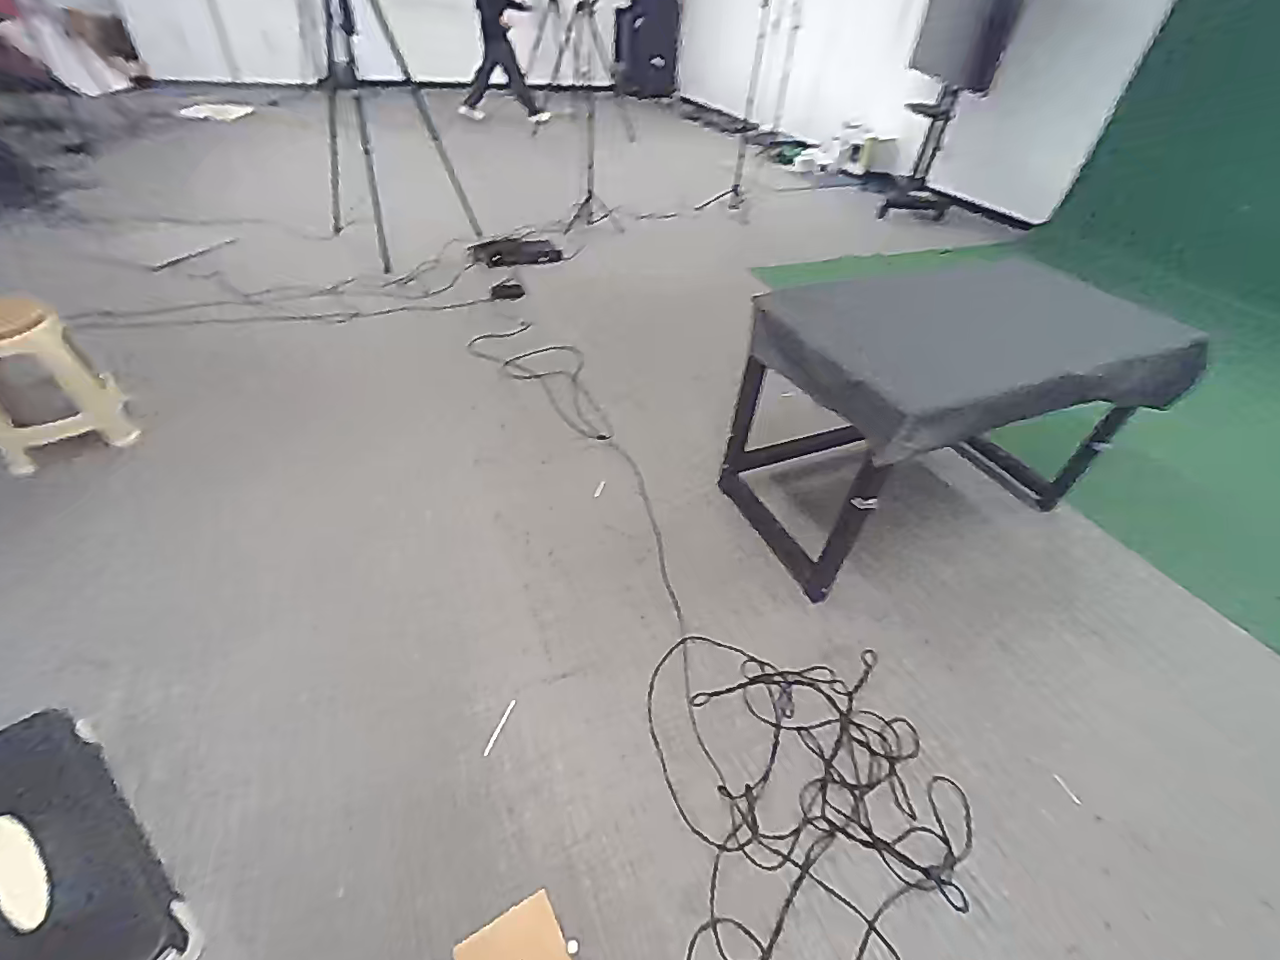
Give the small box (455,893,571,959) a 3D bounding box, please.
[{"bbox_3d":[-0.202,0.864,0.921,0.168,0.176,0.179,-18,48,-26],"label":"small box"}]
